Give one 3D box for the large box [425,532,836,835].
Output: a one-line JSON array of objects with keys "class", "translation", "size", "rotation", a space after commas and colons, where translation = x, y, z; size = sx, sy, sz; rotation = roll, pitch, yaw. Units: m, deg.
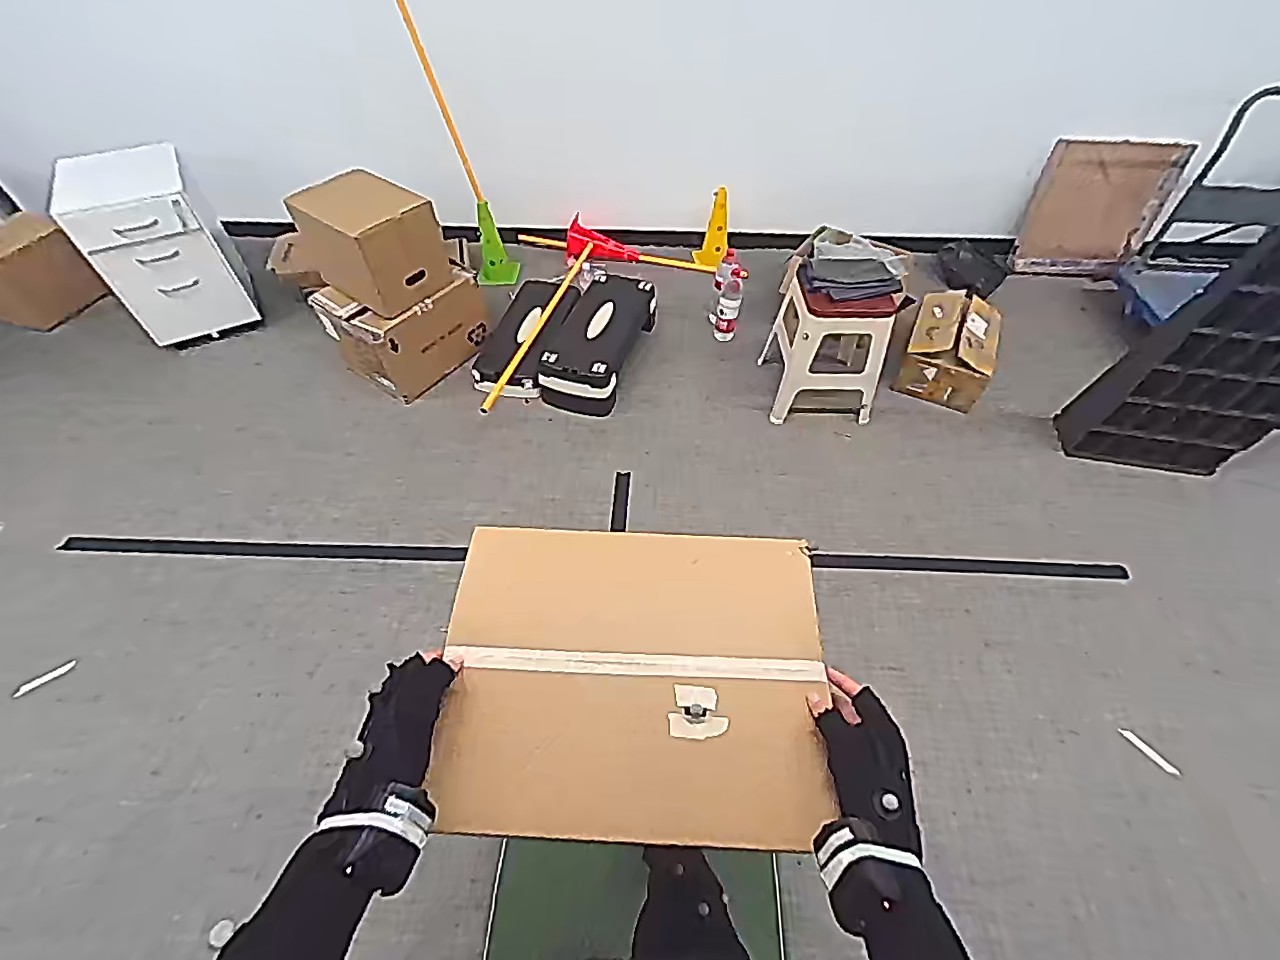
[{"class": "large box", "translation": [-0.010, 0.281, 0.719], "size": [0.408, 0.320, 0.320], "rotation": [2, 57, 0]}]
